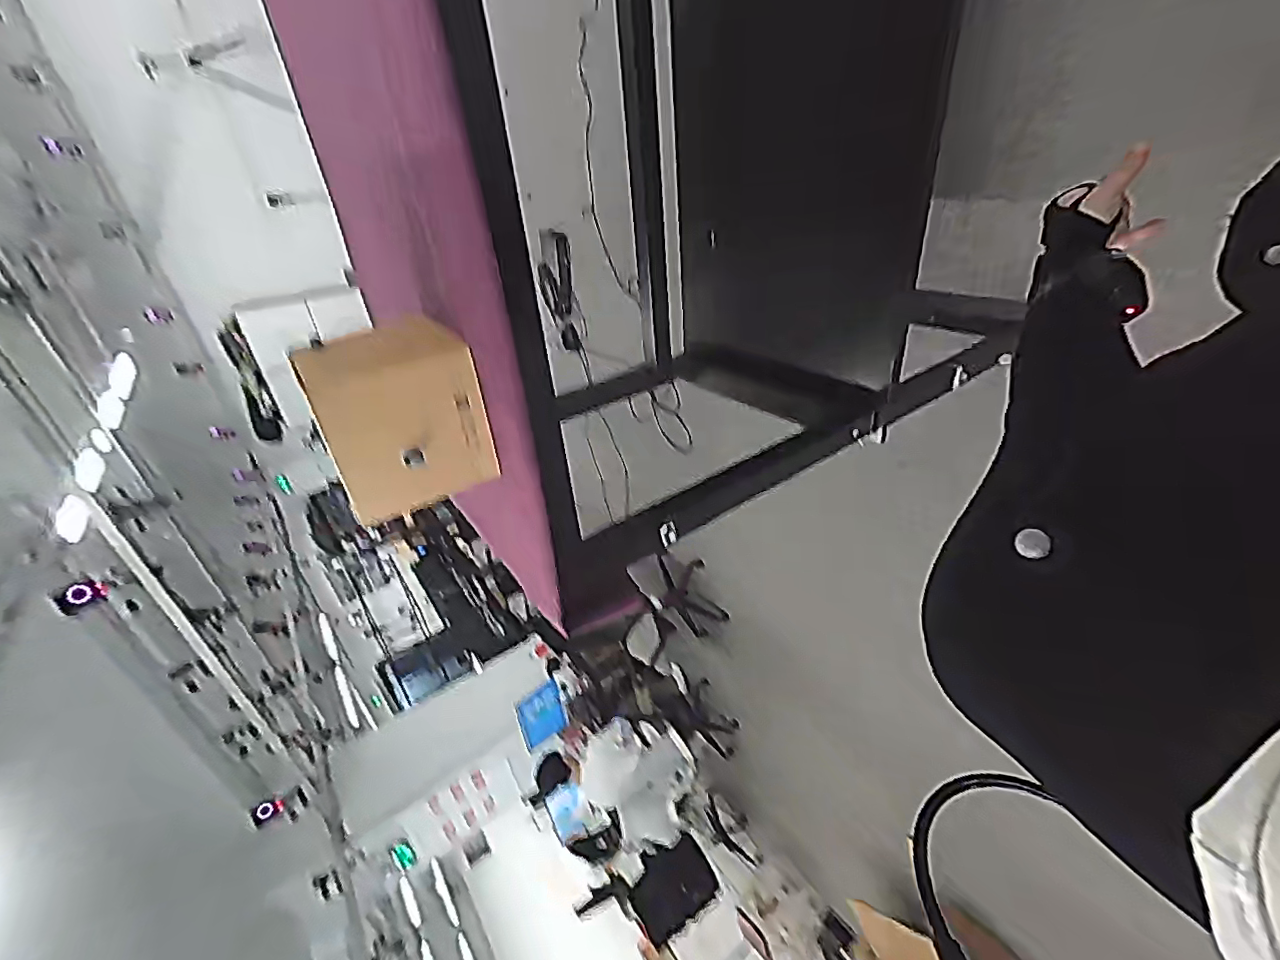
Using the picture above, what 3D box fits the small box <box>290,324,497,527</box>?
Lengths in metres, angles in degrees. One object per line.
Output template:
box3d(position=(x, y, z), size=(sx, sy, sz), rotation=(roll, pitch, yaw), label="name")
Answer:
box3d(position=(-0.285, -0.078, 0.649), size=(0.179, 0.176, 0.168), rotation=(35, 140, 47), label="small box")
